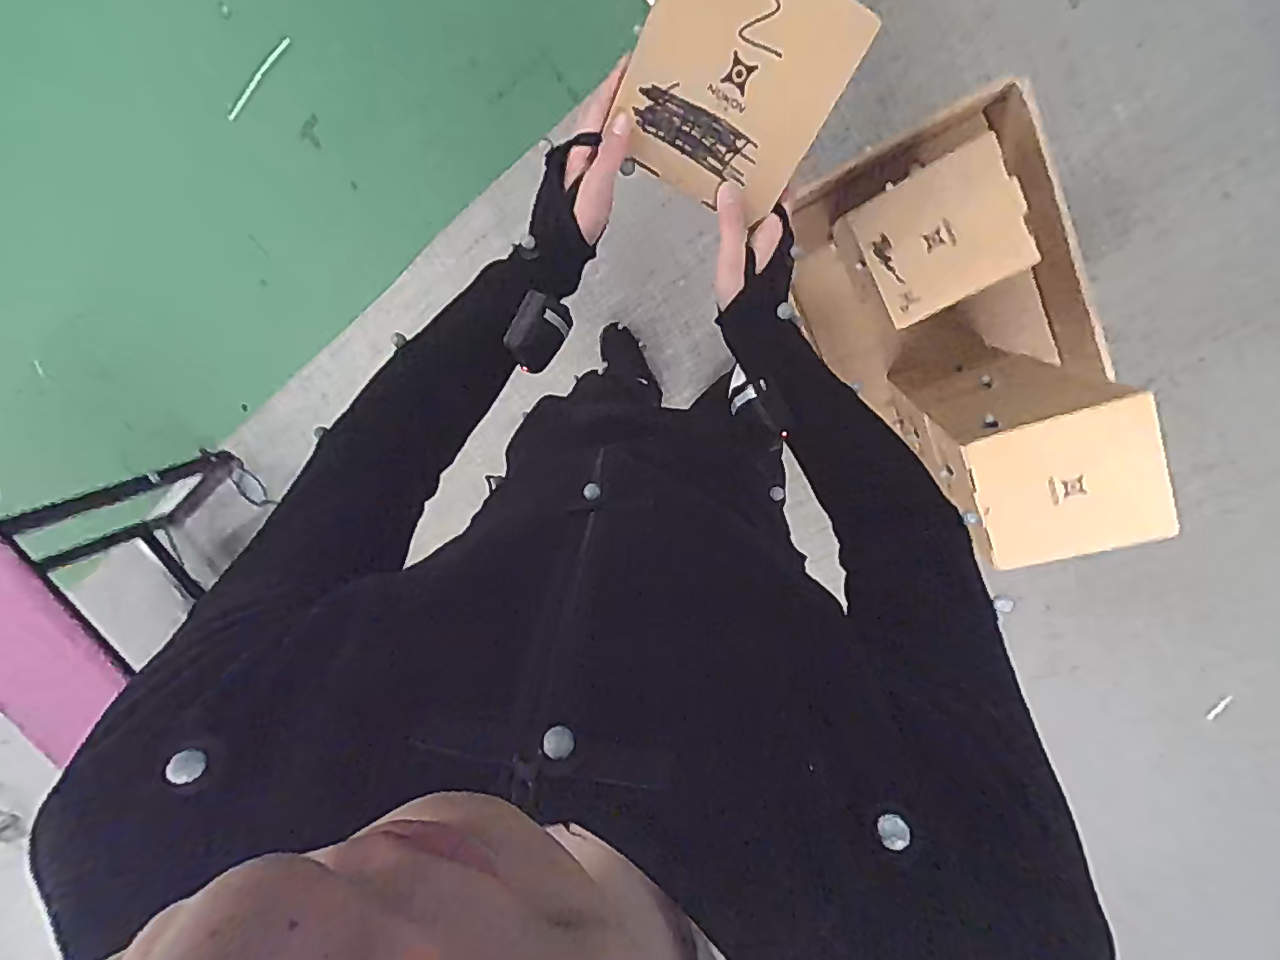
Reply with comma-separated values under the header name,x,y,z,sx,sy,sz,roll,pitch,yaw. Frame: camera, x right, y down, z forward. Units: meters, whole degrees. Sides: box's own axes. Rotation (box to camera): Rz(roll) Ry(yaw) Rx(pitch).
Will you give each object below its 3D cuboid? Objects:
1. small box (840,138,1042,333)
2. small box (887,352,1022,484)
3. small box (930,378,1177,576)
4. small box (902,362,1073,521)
name,x,y,z,sx,sy,sz,roll,pitch,yaw
small box,0.396,-0.322,0.742,0.179,0.176,0.168,-25,101,21
small box,0.559,-0.115,0.955,0.179,0.176,0.168,-17,104,20
small box,0.483,-0.011,0.657,0.179,0.176,0.168,-18,103,20
small box,0.518,-0.065,0.805,0.179,0.176,0.168,-19,103,19
